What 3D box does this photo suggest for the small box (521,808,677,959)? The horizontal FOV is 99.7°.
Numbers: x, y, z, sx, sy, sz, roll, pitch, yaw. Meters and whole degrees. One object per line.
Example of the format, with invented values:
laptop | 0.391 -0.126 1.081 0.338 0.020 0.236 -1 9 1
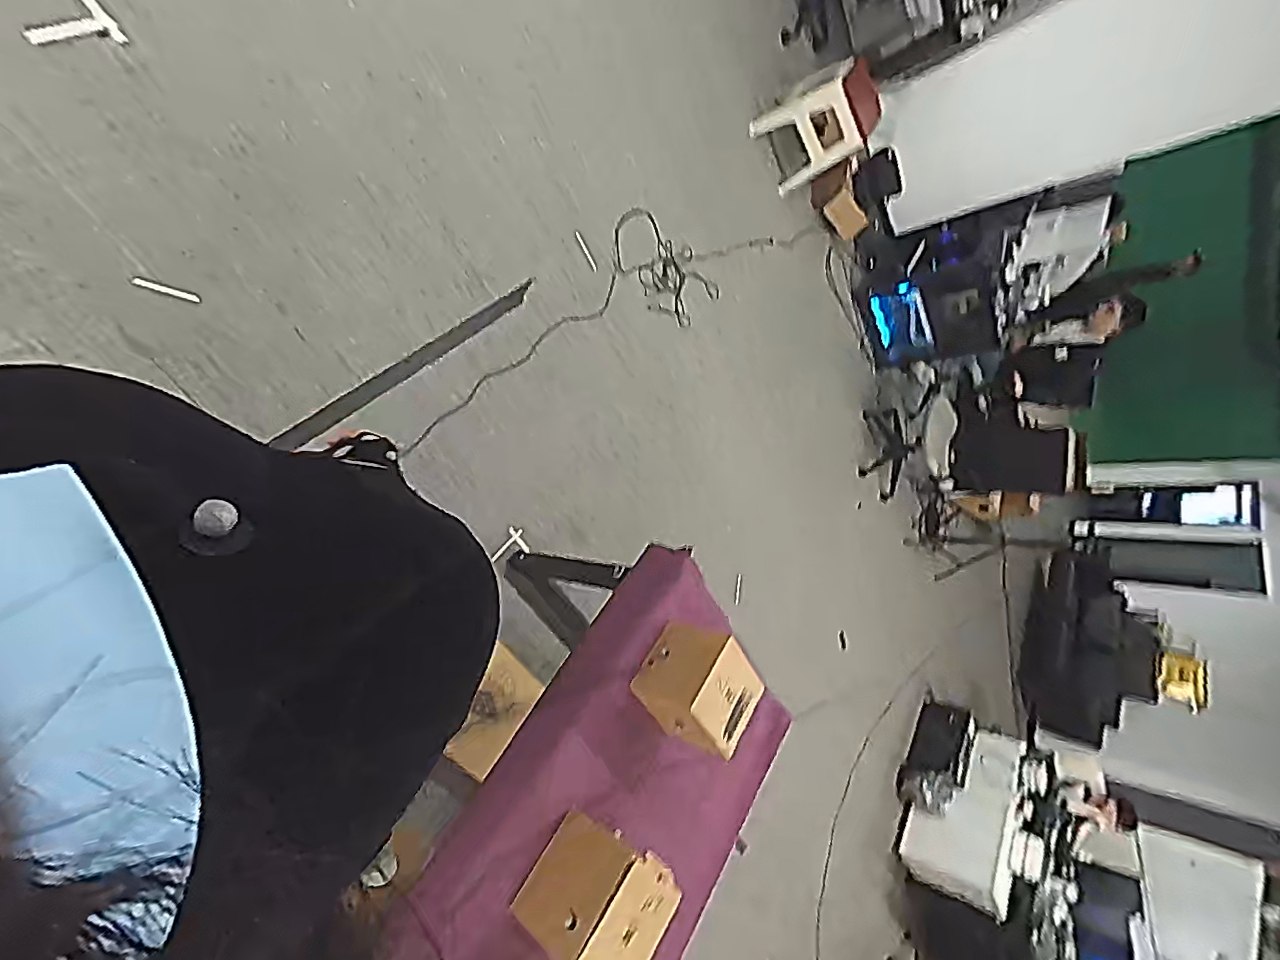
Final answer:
small box | -0.075 0.705 0.911 0.179 0.176 0.168 -51 124 -32
